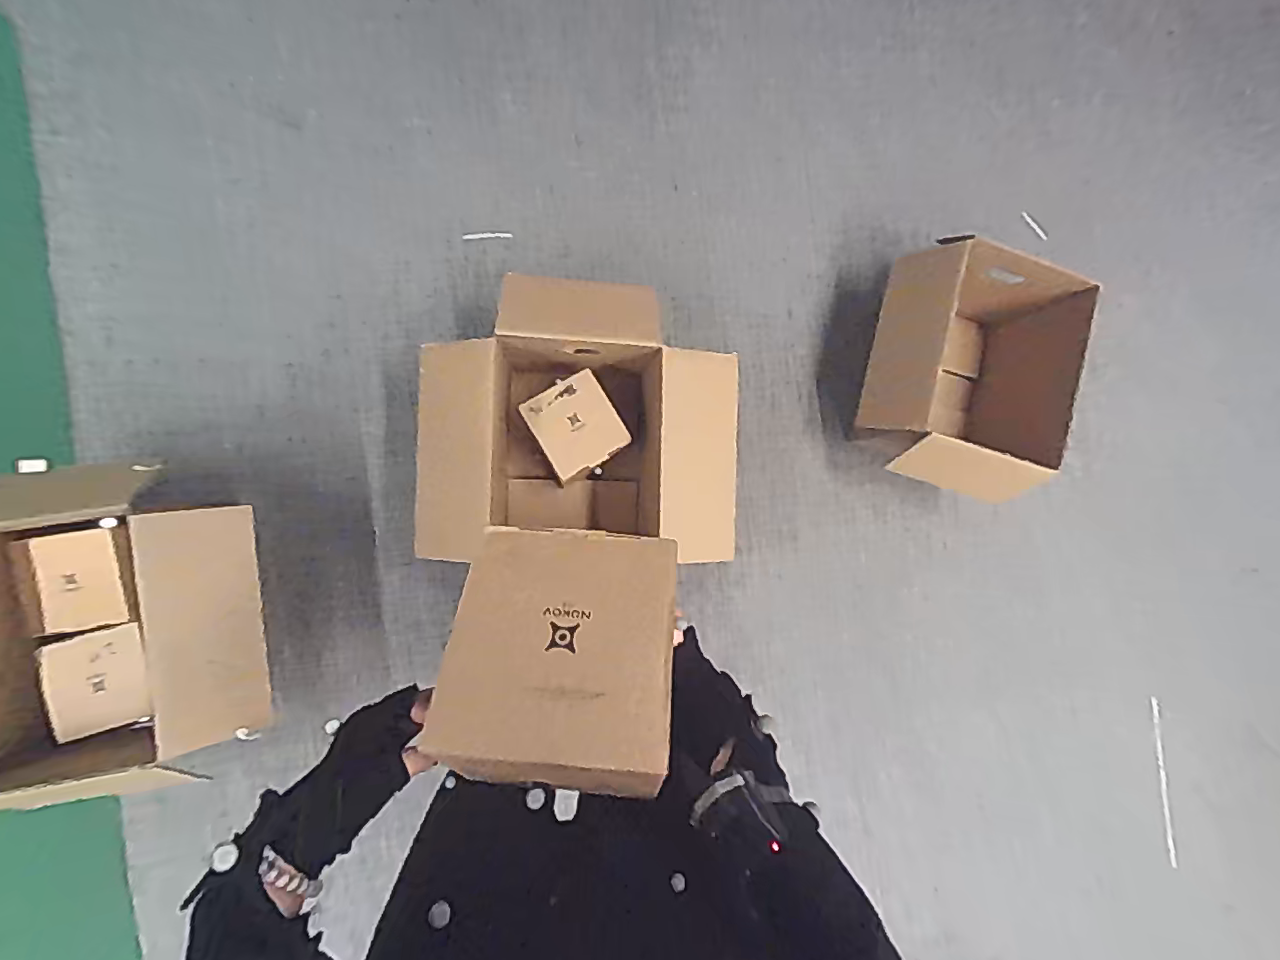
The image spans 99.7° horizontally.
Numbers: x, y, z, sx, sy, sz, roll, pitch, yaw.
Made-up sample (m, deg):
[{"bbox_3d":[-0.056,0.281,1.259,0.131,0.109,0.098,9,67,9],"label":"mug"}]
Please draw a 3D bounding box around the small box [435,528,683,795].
[{"bbox_3d":[-0.054,0.162,0.472,0.168,0.176,0.179,4,56,1],"label":"small box"}]
